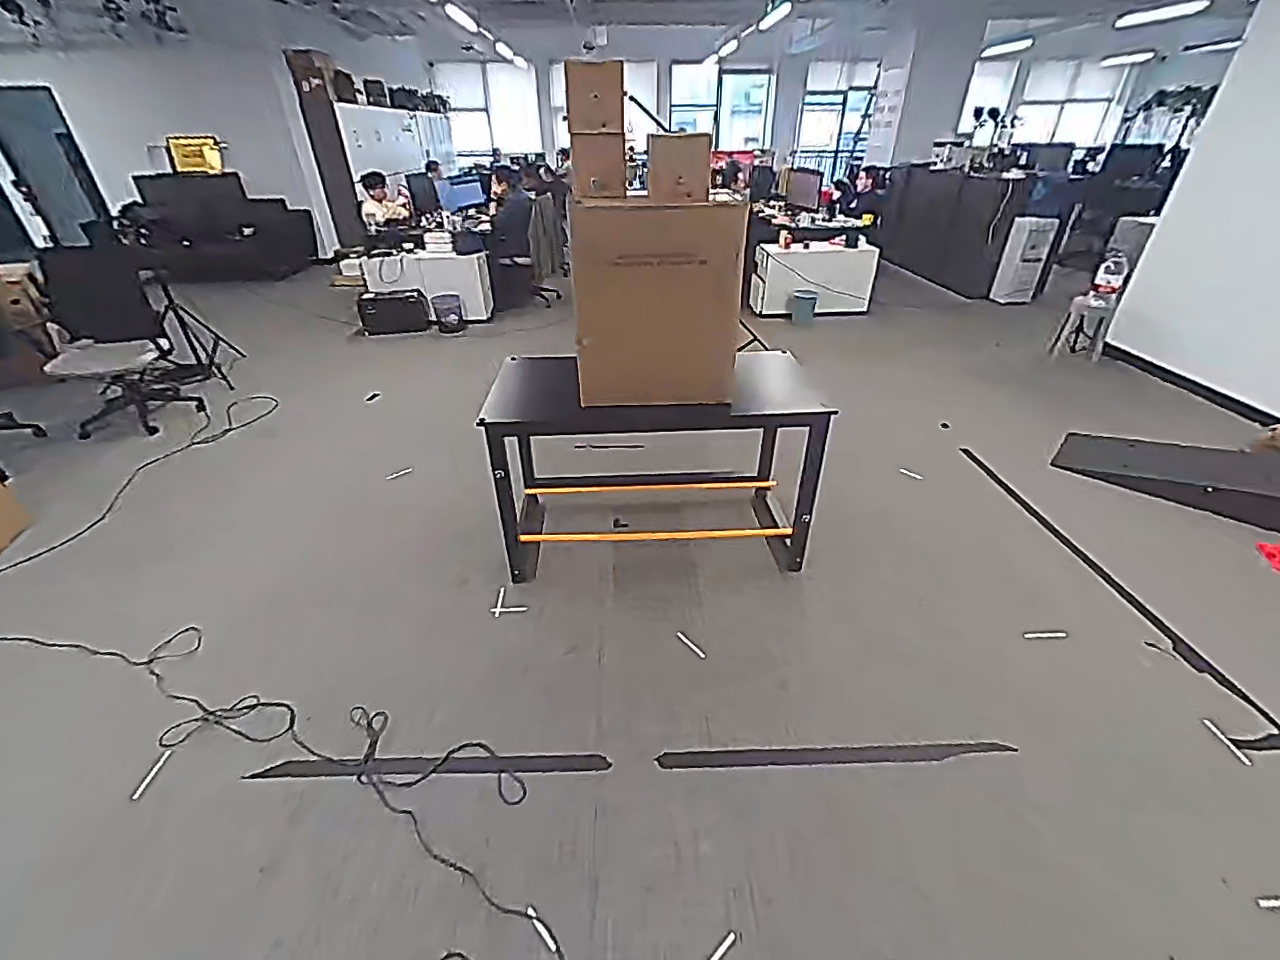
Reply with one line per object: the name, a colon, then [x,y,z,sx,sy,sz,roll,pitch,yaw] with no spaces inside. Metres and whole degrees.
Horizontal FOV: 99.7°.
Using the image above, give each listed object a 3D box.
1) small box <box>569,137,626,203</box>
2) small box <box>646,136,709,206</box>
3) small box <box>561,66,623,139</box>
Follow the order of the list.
small box: [-0.133,-0.965,1.680,0.168,0.176,0.179,-4,33,-5]
small box: [0.105,-0.902,1.576,0.168,0.176,0.179,-4,34,-2]
small box: [-0.136,-1.095,1.579,0.168,0.176,0.179,-3,33,-4]
